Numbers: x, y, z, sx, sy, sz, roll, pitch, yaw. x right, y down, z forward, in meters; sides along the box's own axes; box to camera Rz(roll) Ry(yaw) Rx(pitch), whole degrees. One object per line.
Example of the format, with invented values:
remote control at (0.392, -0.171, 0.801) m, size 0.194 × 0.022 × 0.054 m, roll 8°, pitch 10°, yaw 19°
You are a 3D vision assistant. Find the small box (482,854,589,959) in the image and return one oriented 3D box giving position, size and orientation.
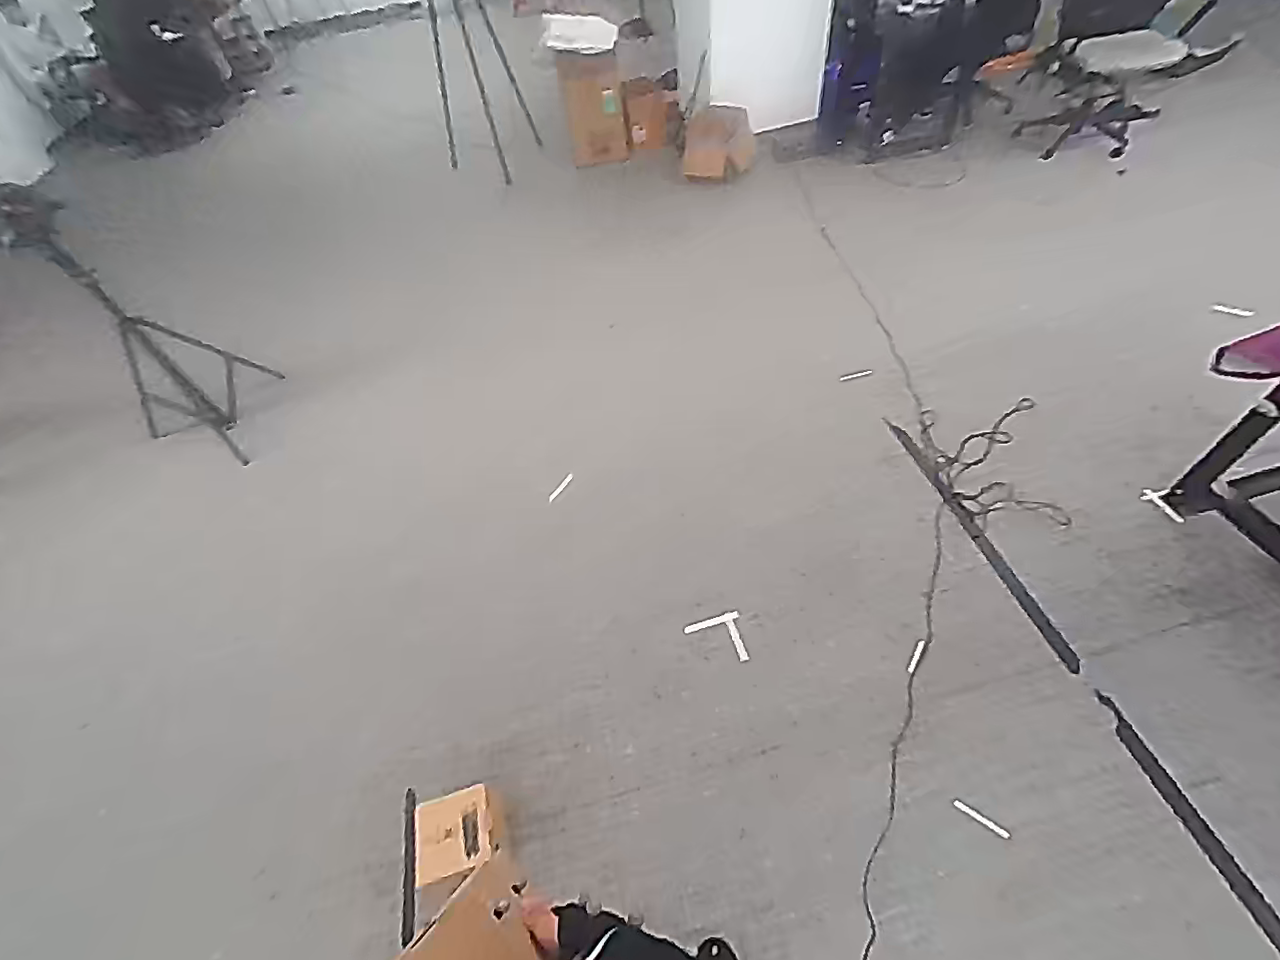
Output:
small box at (-0.178, 0.592, 0.654) m, size 0.179 × 0.176 × 0.168 m, roll 41°, pitch 65°, yaw 14°

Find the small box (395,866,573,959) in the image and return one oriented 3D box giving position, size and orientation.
small box at (-0.160, 0.510, 0.513) m, size 0.179 × 0.176 × 0.168 m, roll 42°, pitch 65°, yaw 15°
